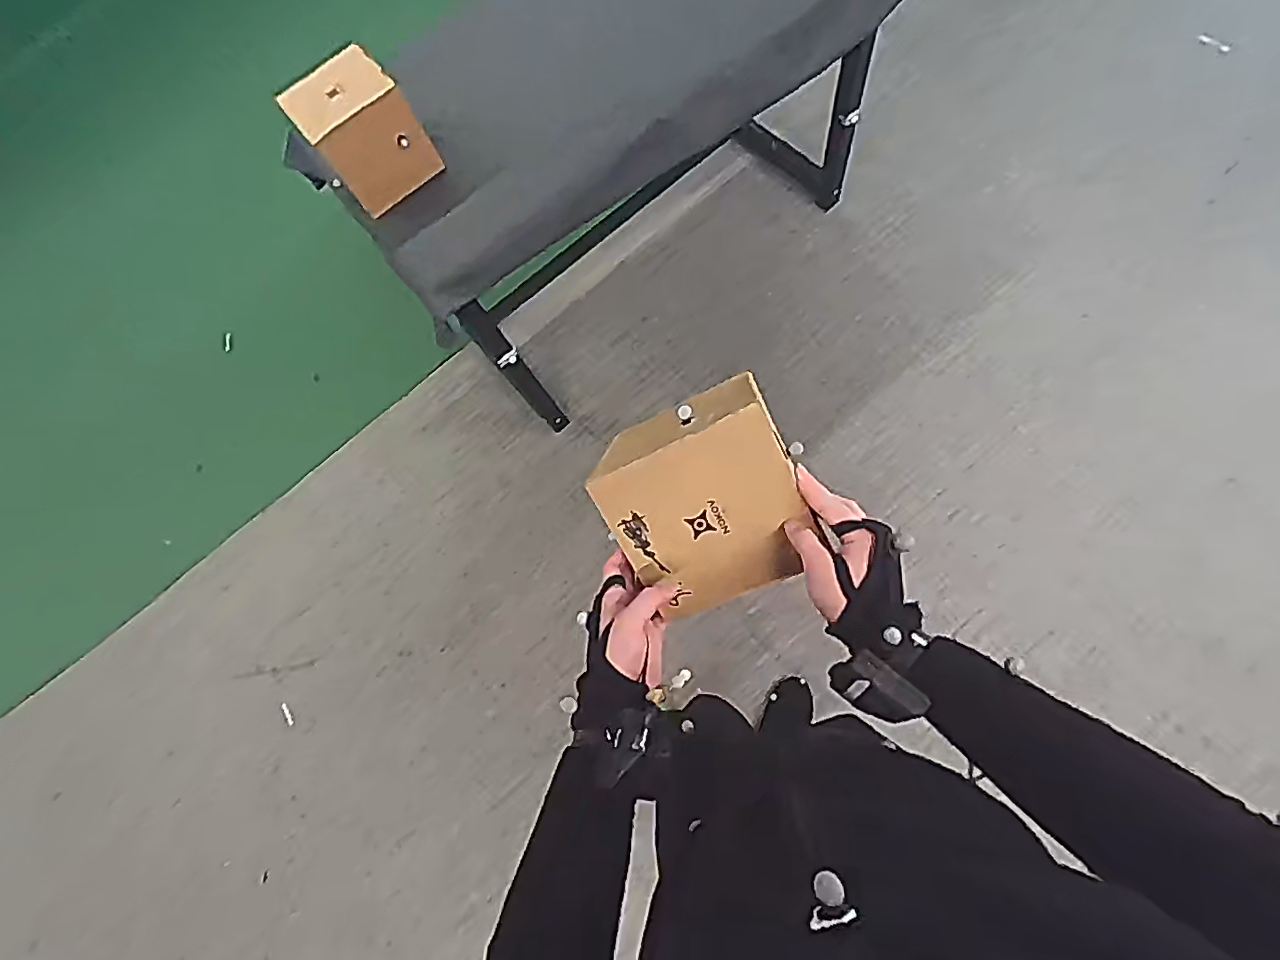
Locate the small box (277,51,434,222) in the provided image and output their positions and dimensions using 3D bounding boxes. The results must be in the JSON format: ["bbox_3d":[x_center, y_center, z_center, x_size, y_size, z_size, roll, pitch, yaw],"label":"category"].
[{"bbox_3d":[-0.510,-0.627,1.001,0.179,0.176,0.168,-37,68,-4],"label":"small box"}]

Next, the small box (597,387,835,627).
[{"bbox_3d":[0.077,0.017,0.573,0.179,0.176,0.168,-24,105,14],"label":"small box"}]
